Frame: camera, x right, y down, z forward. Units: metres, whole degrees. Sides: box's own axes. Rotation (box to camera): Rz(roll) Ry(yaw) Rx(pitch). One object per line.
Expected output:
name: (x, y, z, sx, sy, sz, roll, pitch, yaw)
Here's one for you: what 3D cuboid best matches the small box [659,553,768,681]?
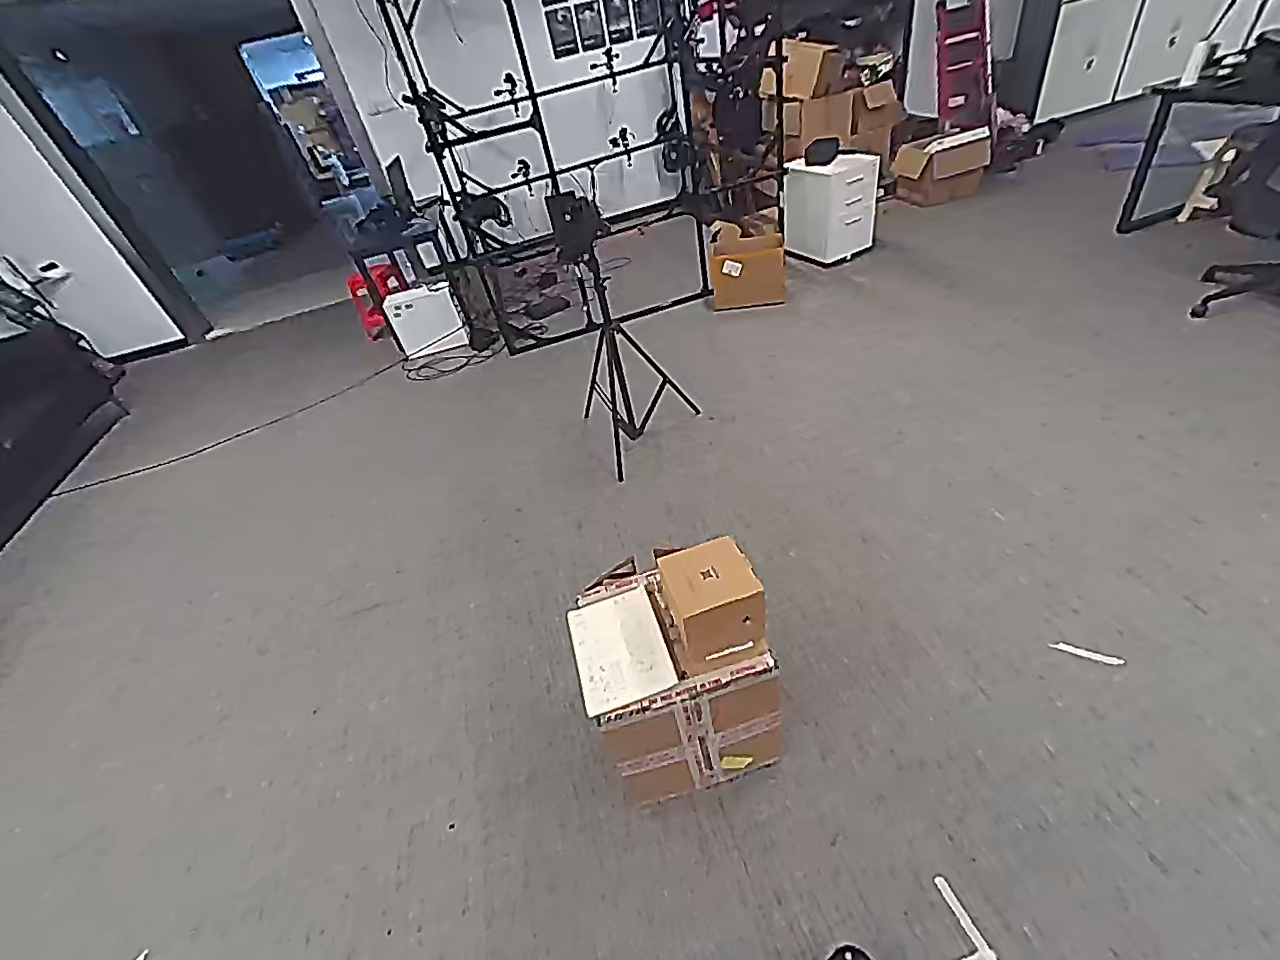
small box: (0.154, 0.289, 1.139, 0.179, 0.176, 0.168, -18, 41, -7)
